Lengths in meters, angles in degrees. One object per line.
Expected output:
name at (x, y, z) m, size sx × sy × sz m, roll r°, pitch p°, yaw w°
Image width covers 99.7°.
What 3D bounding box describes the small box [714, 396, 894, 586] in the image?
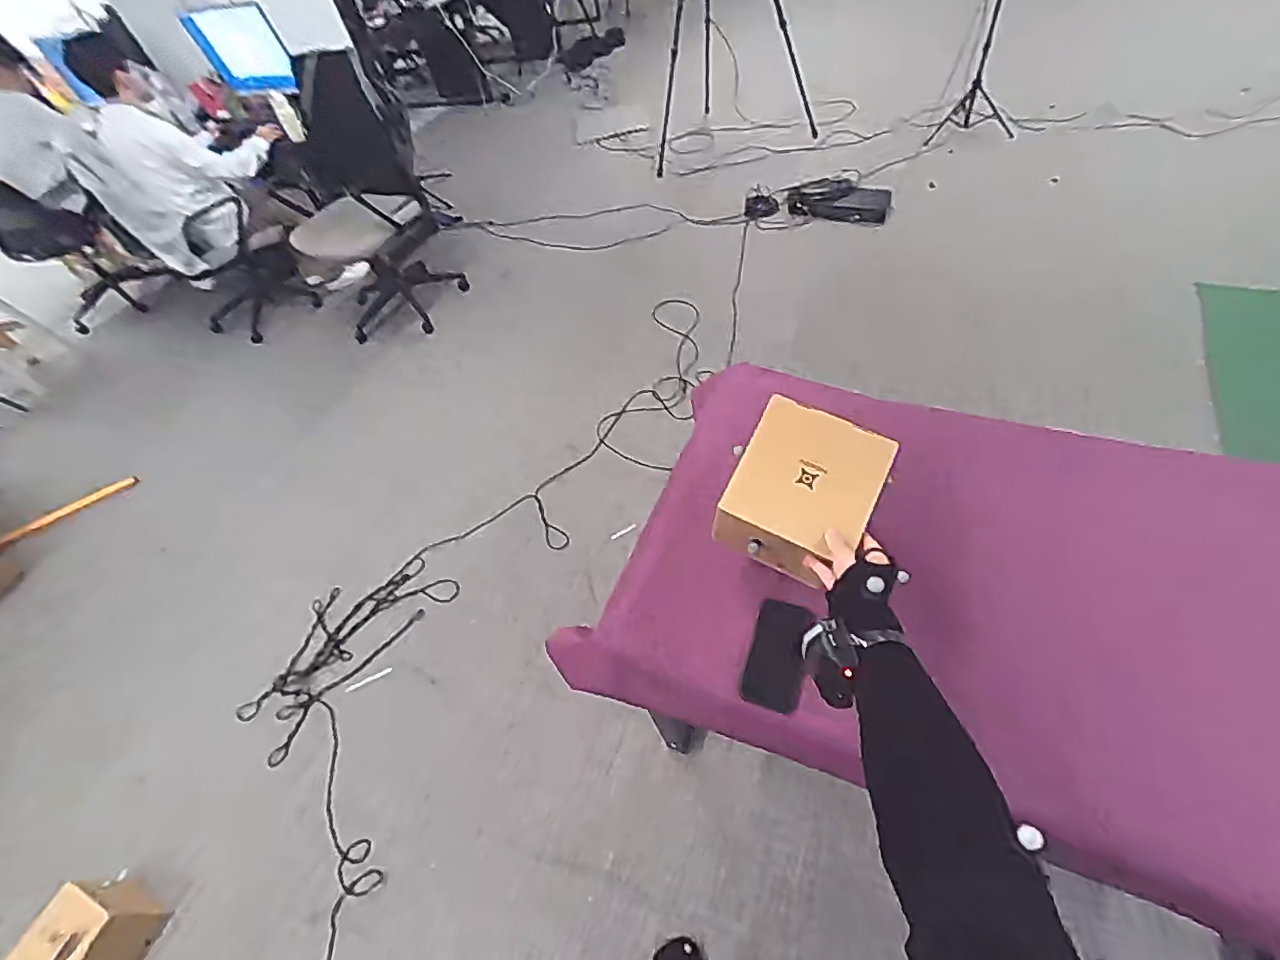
small box at (0.210, 0.024, 0.730) m, size 0.168 × 0.176 × 0.179 m, roll 24°, pitch 72°, yaw 14°
